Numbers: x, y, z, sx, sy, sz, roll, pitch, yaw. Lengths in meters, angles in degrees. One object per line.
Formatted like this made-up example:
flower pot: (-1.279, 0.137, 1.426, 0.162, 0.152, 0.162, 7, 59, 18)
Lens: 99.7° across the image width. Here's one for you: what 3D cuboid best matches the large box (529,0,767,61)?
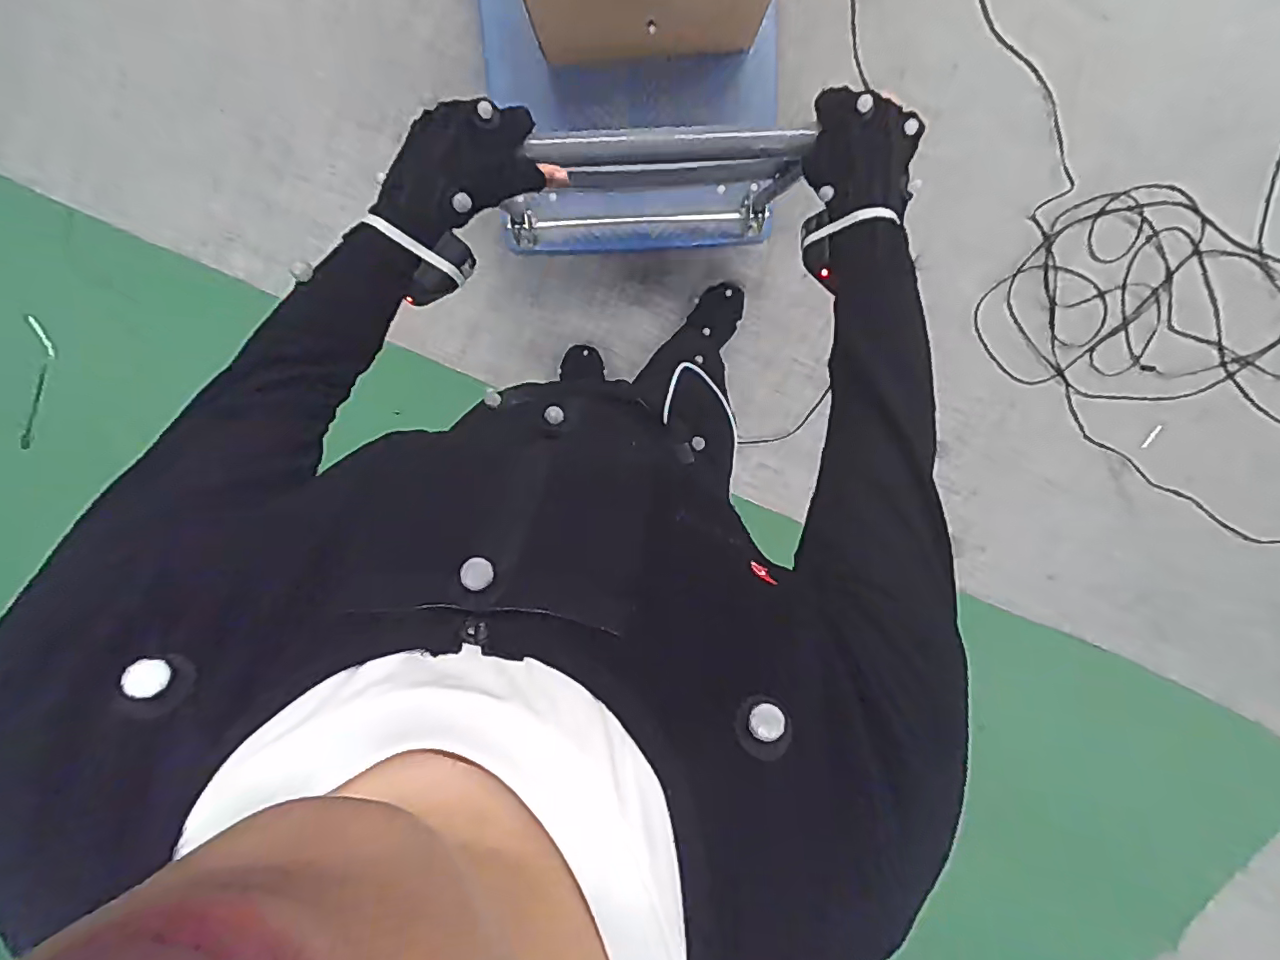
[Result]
large box: (0.007, -0.939, 0.875, 0.408, 0.320, 0.320, -5, 107, 1)
